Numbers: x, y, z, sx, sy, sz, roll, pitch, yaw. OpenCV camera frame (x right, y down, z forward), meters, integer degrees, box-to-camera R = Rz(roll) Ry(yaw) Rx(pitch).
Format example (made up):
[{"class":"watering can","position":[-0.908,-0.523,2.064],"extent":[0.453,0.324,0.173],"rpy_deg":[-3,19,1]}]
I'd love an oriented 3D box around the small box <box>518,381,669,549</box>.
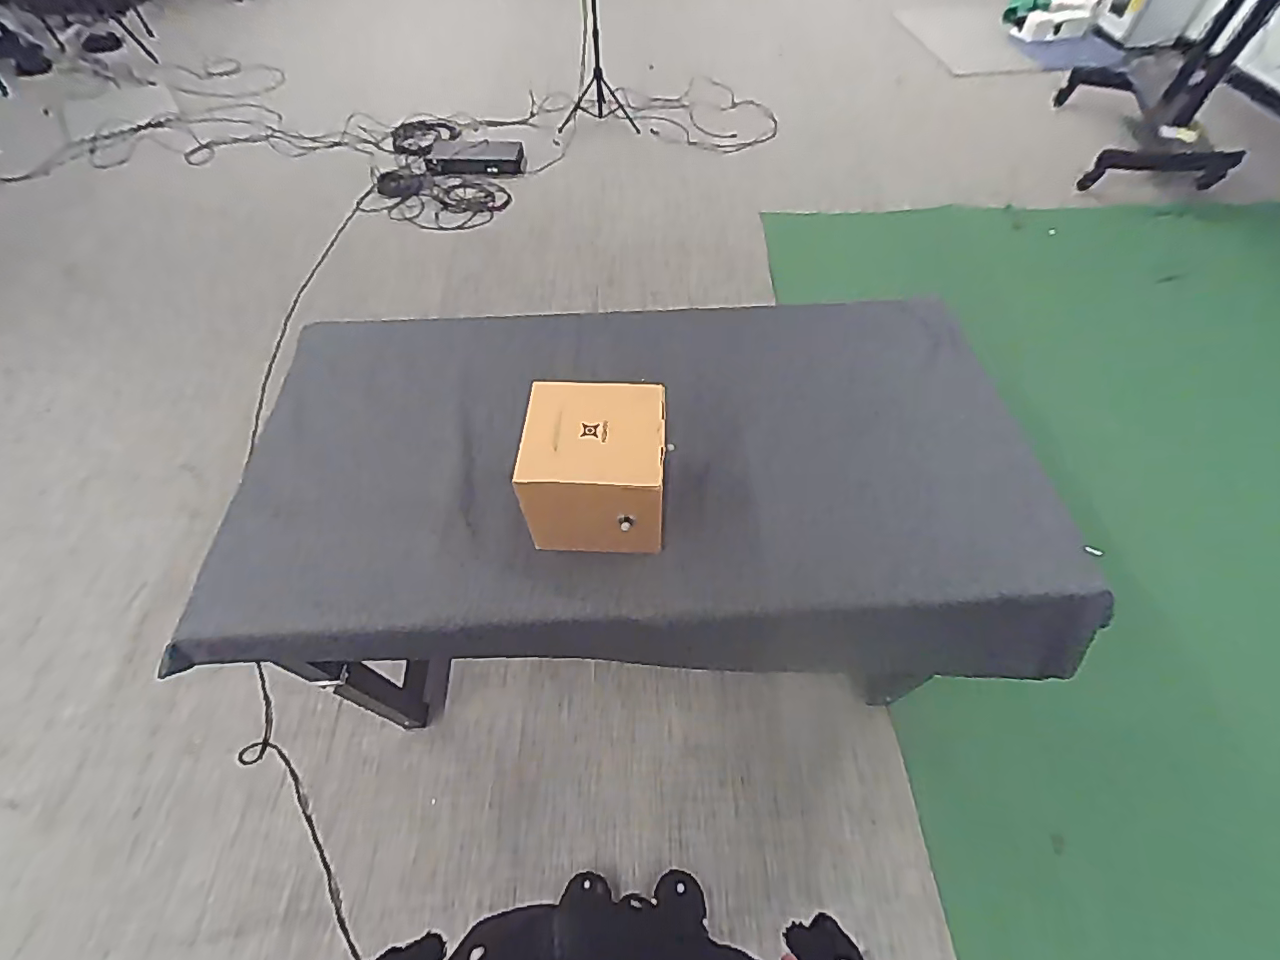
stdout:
[{"class":"small box","position":[-0.052,-0.016,0.736],"extent":[0.179,0.176,0.168],"rpy_deg":[1,54,3]}]
